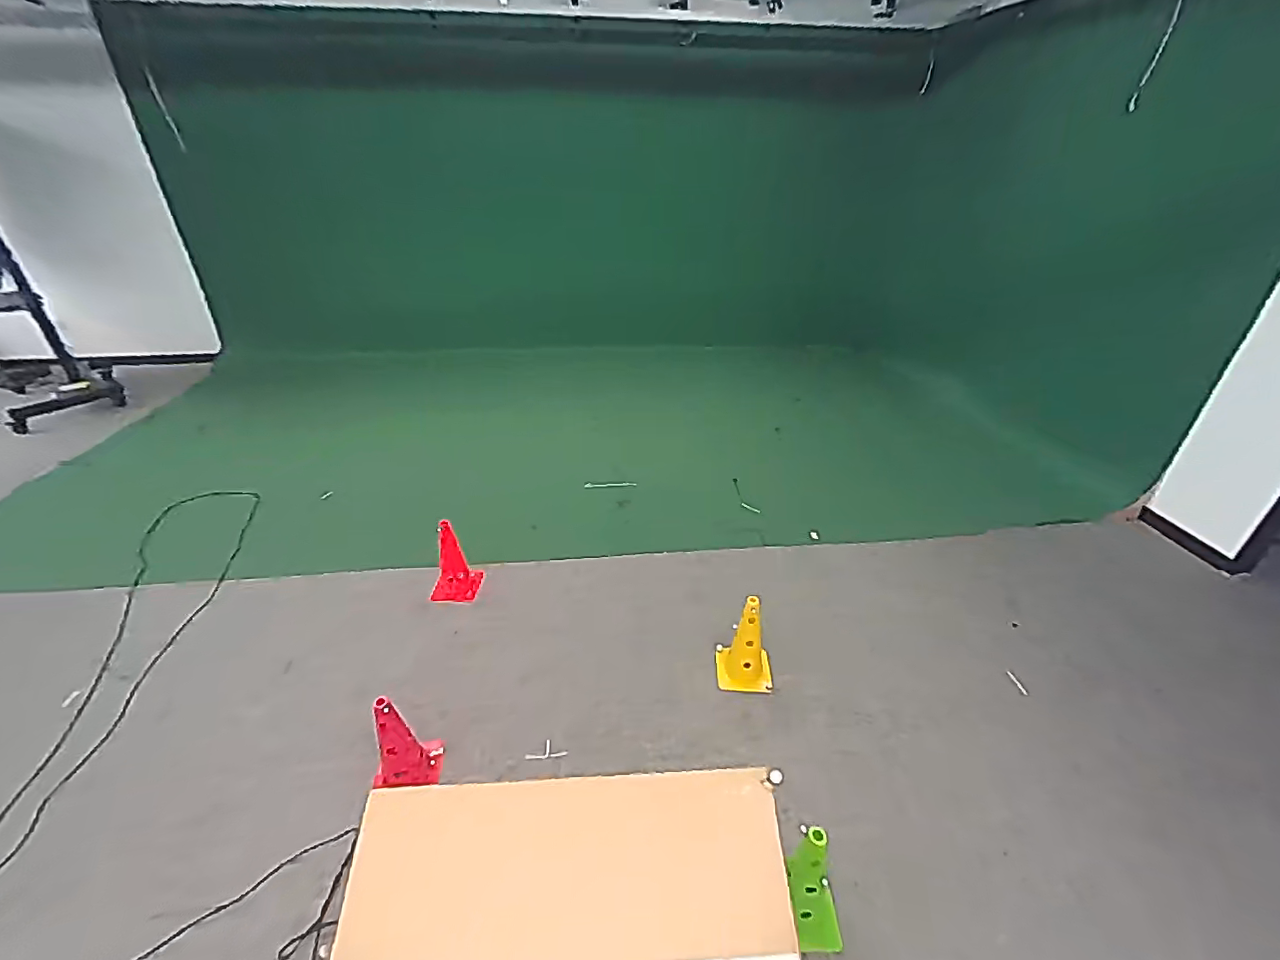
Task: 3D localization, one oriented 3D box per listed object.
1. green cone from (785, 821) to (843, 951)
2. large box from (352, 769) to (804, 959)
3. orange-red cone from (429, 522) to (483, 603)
[{"bbox_3d":[0.414,0.966,1.336,0.200,0.368,0.202,0,30,0],"label":"green cone"},{"bbox_3d":[-0.057,0.526,0.582,0.408,0.320,0.320,-2,54,-4],"label":"large box"},{"bbox_3d":[-0.831,0.340,2.350,0.199,0.360,0.198,0,31,2],"label":"orange-red cone"}]
